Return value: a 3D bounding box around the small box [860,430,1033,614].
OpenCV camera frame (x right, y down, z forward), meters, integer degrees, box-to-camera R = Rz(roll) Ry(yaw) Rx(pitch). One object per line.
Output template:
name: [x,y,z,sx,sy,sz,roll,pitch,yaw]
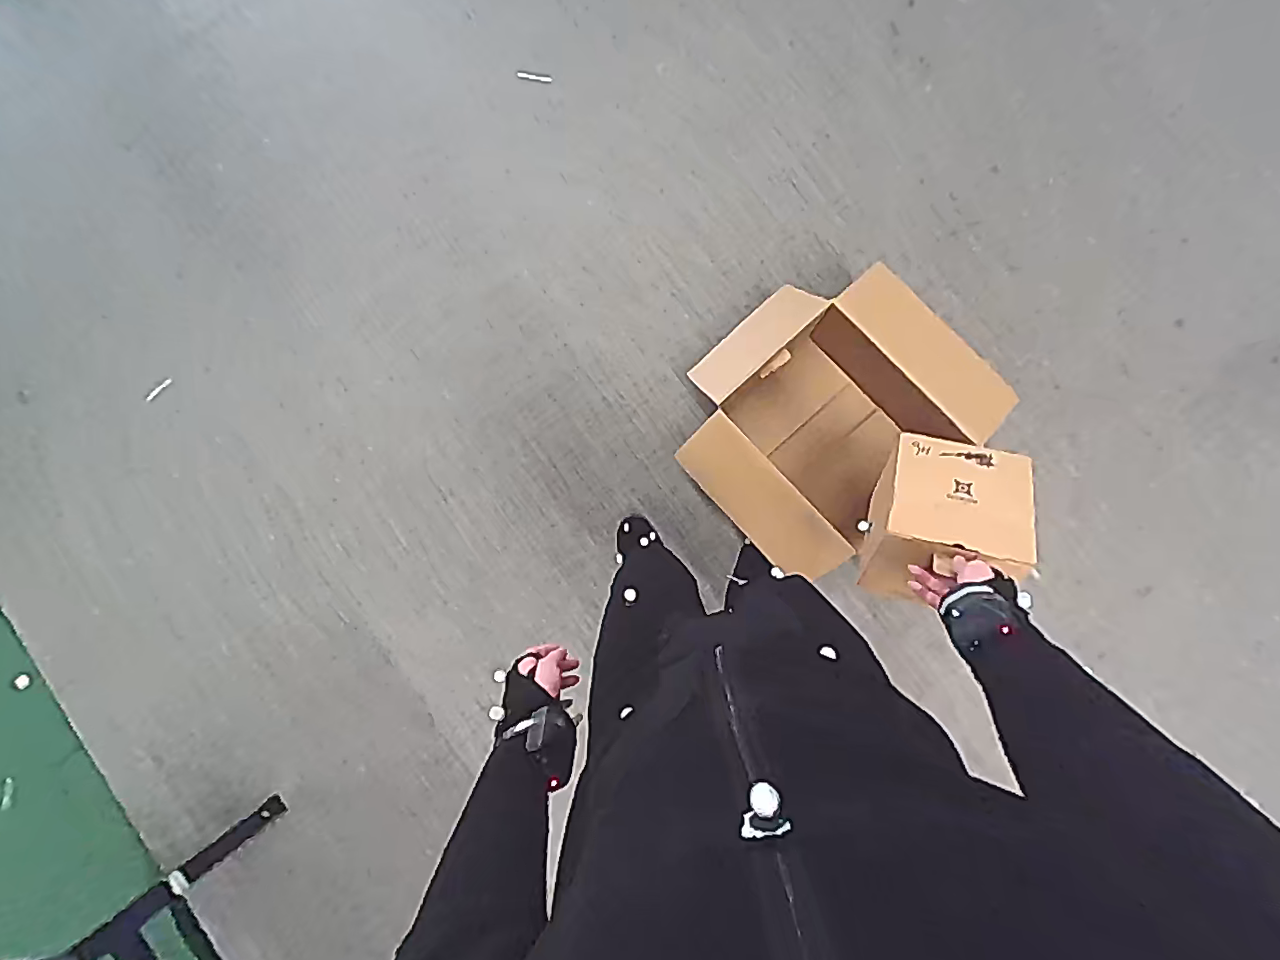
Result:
small box: [0.420,0.063,0.760,0.168,0.176,0.179,15,57,17]
